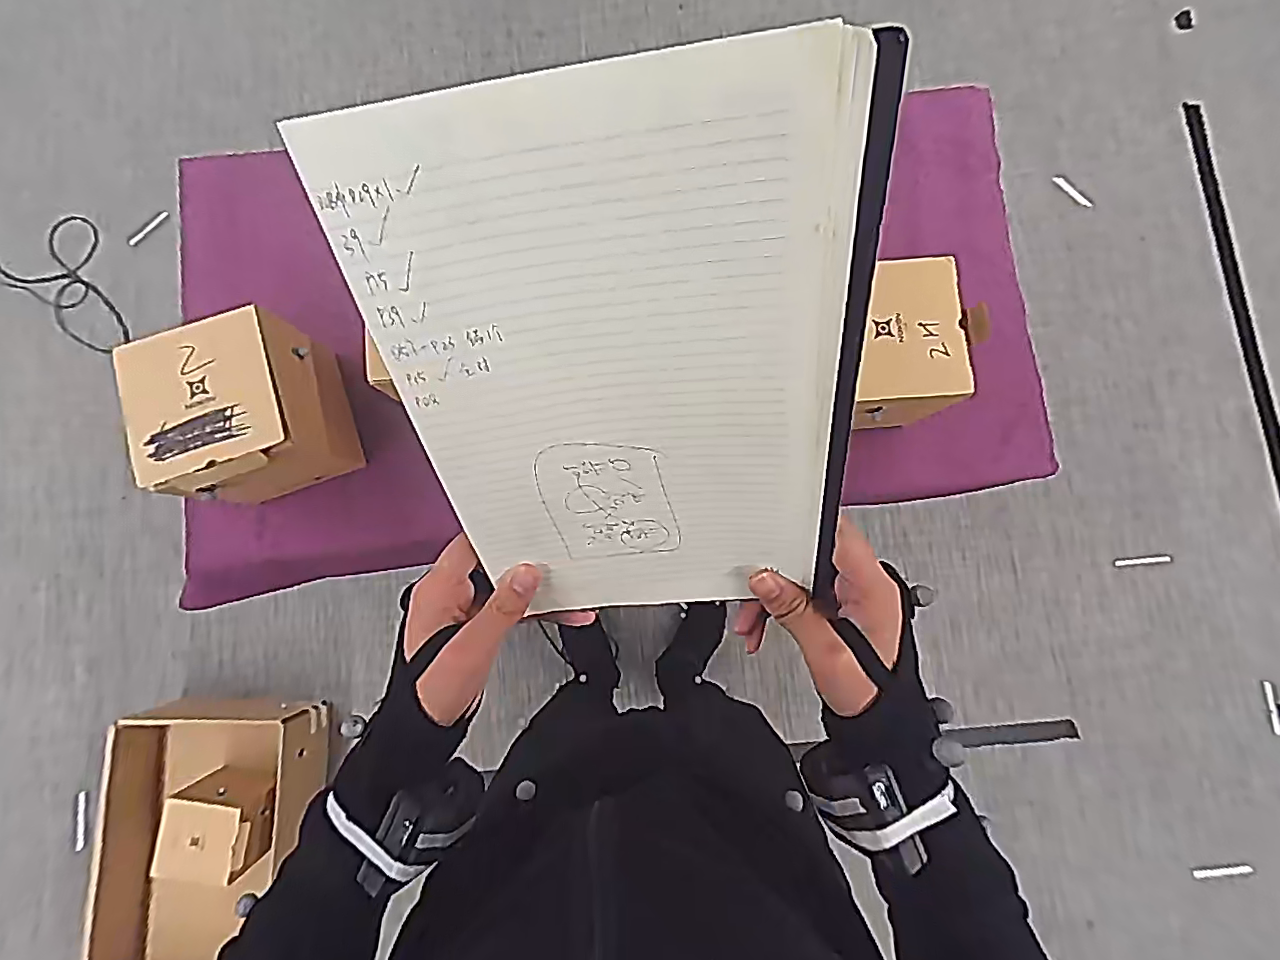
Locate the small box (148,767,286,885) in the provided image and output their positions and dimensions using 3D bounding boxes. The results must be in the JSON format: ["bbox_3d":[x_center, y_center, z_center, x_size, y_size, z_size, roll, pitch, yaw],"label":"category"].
[{"bbox_3d":[-0.968,0.792,1.255,0.179,0.176,0.168,9,84,0],"label":"small box"}]

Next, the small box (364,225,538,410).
[{"bbox_3d":[-0.228,-0.192,0.689,0.168,0.176,0.179,-5,82,-1],"label":"small box"}]

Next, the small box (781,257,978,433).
[{"bbox_3d":[0.285,-0.159,0.687,0.179,0.176,0.168,-4,83,-1],"label":"small box"}]
